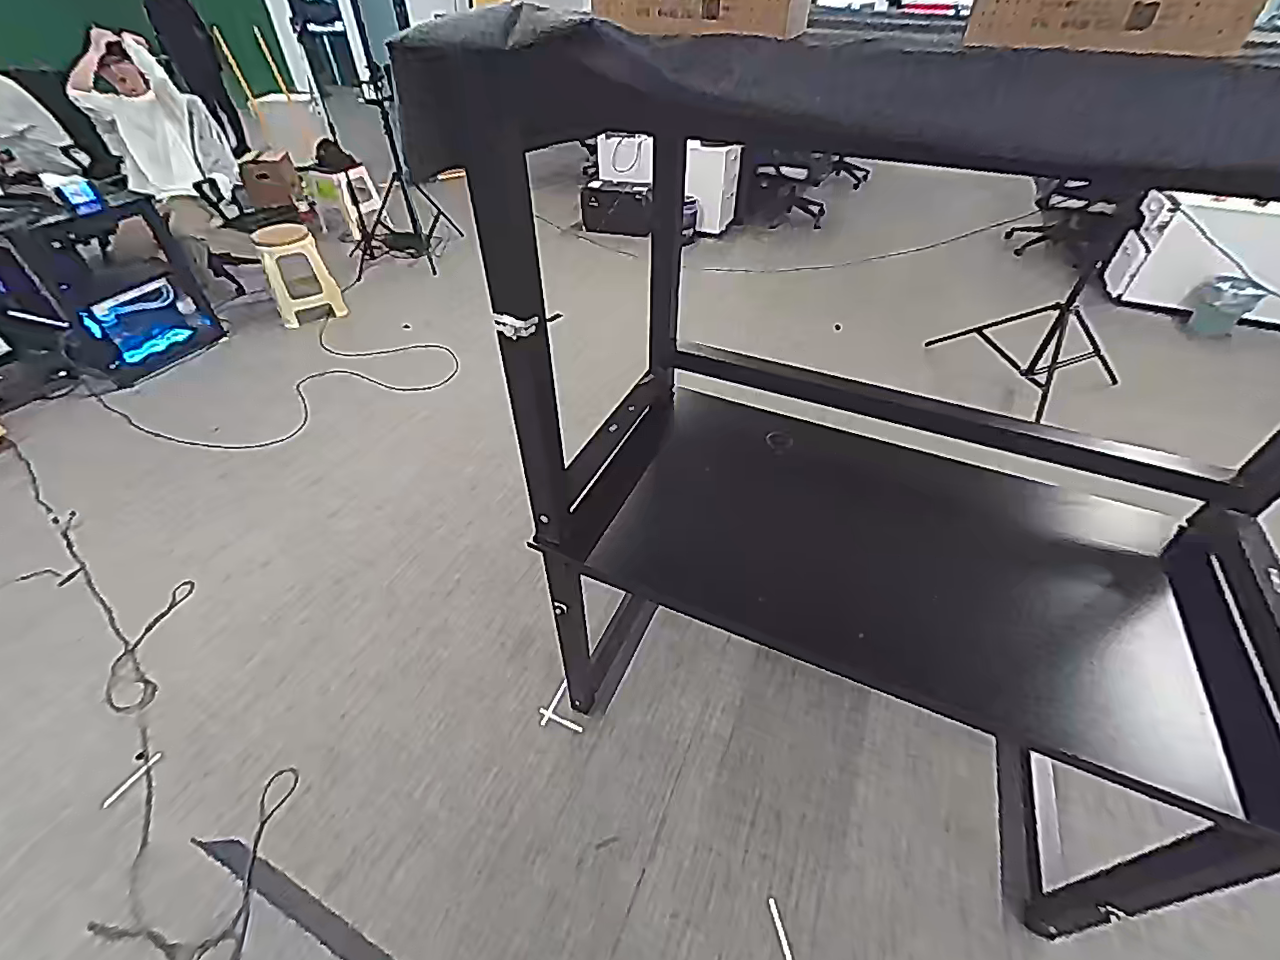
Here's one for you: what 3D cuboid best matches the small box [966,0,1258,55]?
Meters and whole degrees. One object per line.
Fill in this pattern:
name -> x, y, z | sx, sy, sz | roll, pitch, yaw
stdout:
small box -> 0.351, -0.413, 0.379 | 0.168, 0.176, 0.179 | 19, 44, 19
